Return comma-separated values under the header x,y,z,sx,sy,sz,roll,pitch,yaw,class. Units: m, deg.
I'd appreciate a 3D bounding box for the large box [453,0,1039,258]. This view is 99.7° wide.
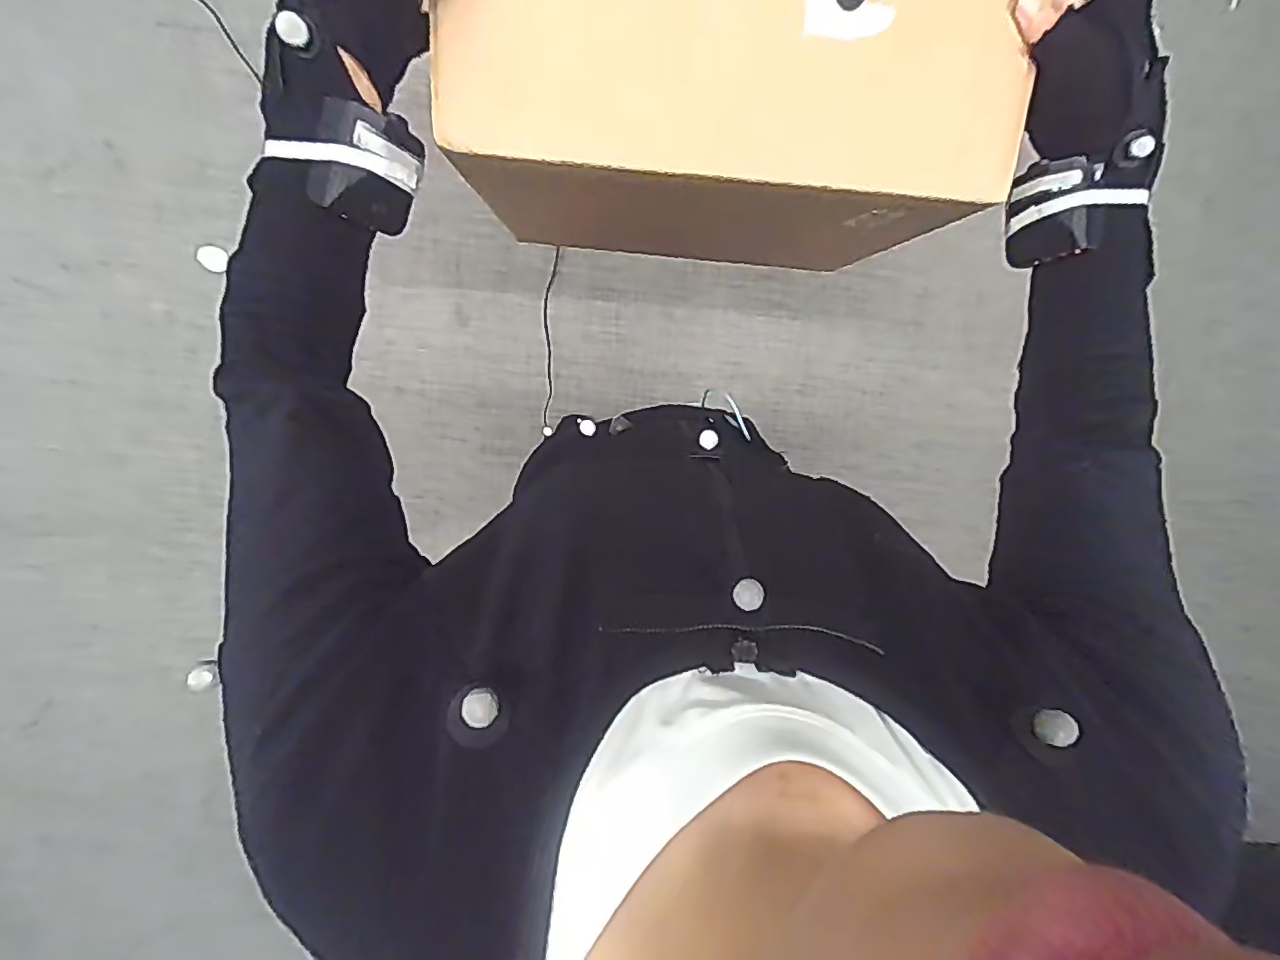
x,y,z,sx,sy,sz,roll,pitch,yaw,class
0.068,-0.404,0.495,0.408,0.320,0.320,3,103,-4,large box
